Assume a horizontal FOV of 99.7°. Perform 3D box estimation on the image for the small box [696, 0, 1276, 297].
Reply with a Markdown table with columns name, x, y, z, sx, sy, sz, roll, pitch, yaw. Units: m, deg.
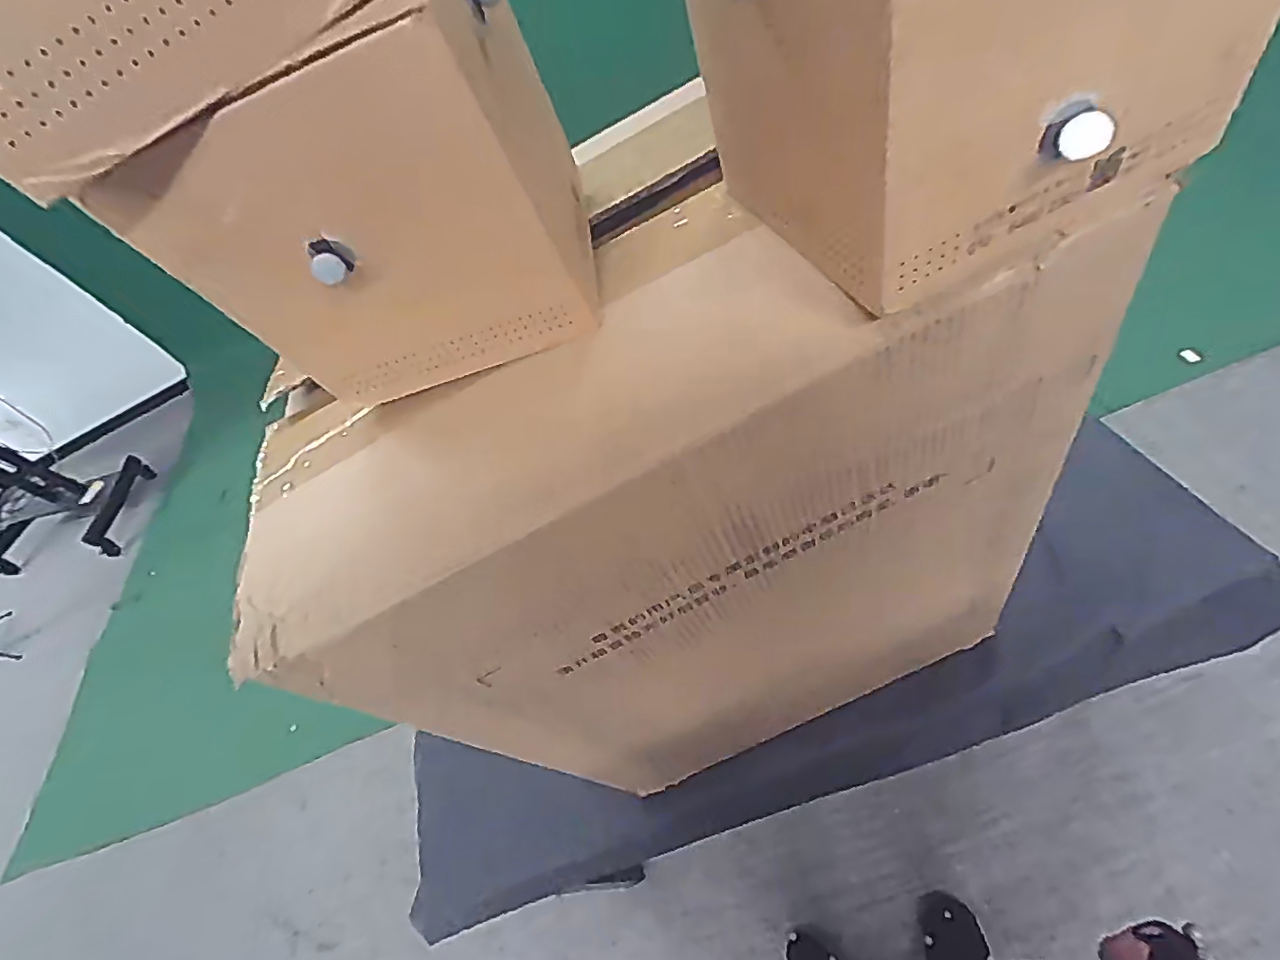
| name | x | y | z | sx | sy | sz | roll | pitch | yaw |
| --- | --- | --- | --- | --- | --- | --- | --- | --- | --- |
| small box | 0.127 | -0.215 | 0.234 | 0.168 | 0.176 | 0.179 | -27 | 52 | 4 |

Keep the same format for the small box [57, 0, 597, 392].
| name | x | y | z | sx | sy | sz | roll | pitch | yaw |
| --- | --- | --- | --- | --- | --- | --- | --- | --- | --- |
| small box | -0.141 | -0.175 | 0.307 | 0.179 | 0.176 | 0.168 | -15 | 61 | 12 |

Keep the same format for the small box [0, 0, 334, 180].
| name | x | y | z | sx | sy | sz | roll | pitch | yaw |
| --- | --- | --- | --- | --- | --- | --- | --- | --- | --- |
| small box | -0.205 | -0.239 | 0.172 | 0.179 | 0.176 | 0.168 | -30 | 59 | 1 |
